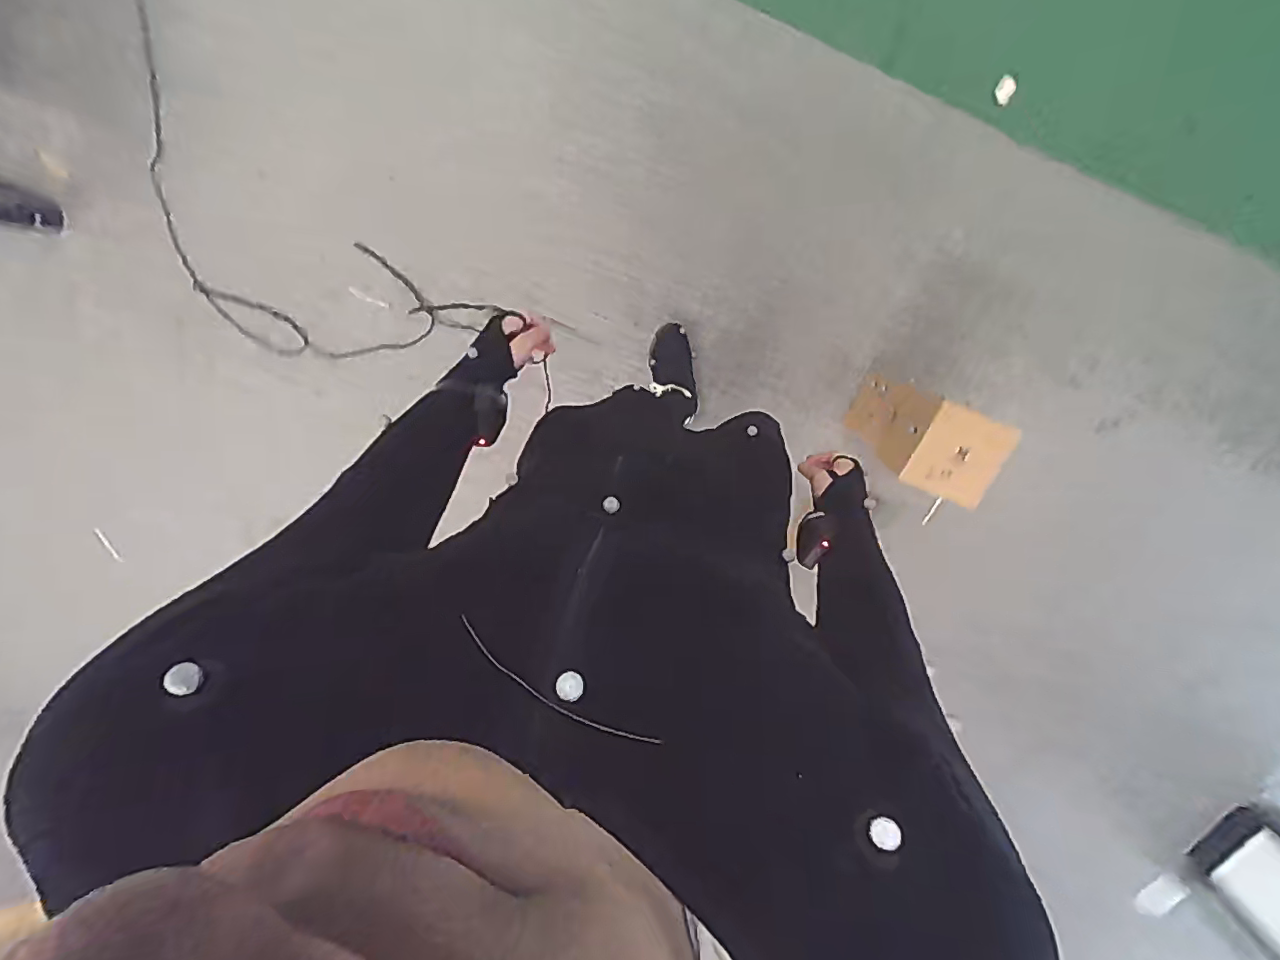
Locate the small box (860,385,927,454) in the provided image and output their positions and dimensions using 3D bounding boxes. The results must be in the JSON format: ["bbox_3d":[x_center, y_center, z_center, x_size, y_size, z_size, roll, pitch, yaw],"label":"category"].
[{"bbox_3d":[0.651,-0.116,1.274,0.179,0.176,0.168,22,109,-2],"label":"small box"}]

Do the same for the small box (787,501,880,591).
[{"bbox_3d":[0.544,0.180,1.551,0.179,0.176,0.168,31,108,-3],"label":"small box"}]

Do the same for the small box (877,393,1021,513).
[{"bbox_3d":[0.623,-0.065,1.120,0.168,0.176,0.179,23,109,-2],"label":"small box"}]
